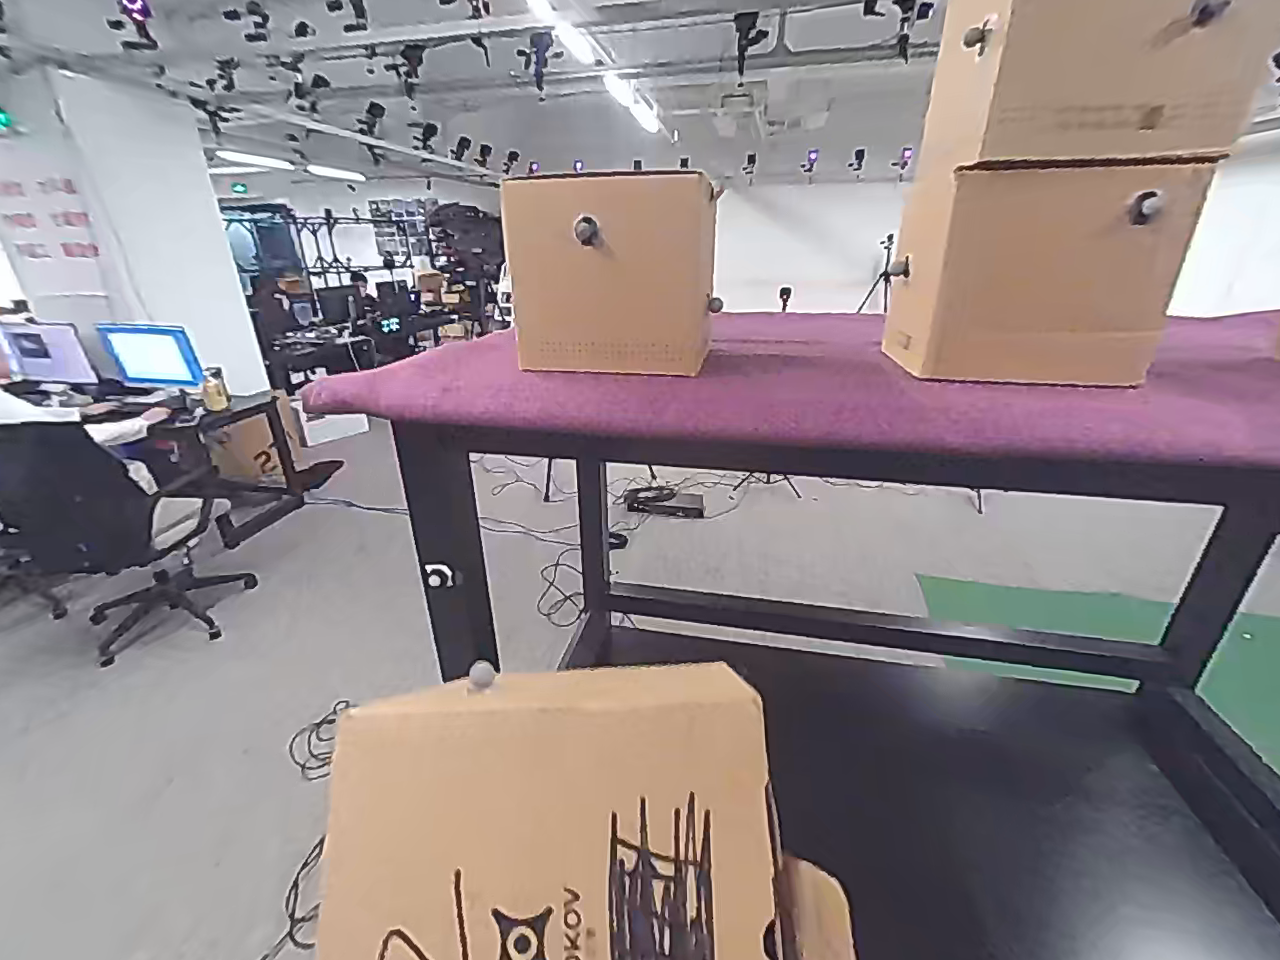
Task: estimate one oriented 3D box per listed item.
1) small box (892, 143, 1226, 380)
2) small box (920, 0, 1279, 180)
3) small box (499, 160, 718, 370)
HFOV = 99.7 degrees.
[{"bbox_3d":[0.341,-0.188,0.490,0.179,0.176,0.168,4,23,11],"label":"small box"},{"bbox_3d":[0.346,-0.338,0.427,0.168,0.176,0.179,5,22,8],"label":"small box"},{"bbox_3d":[-0.018,-0.209,0.541,0.179,0.176,0.168,4,25,11],"label":"small box"}]
